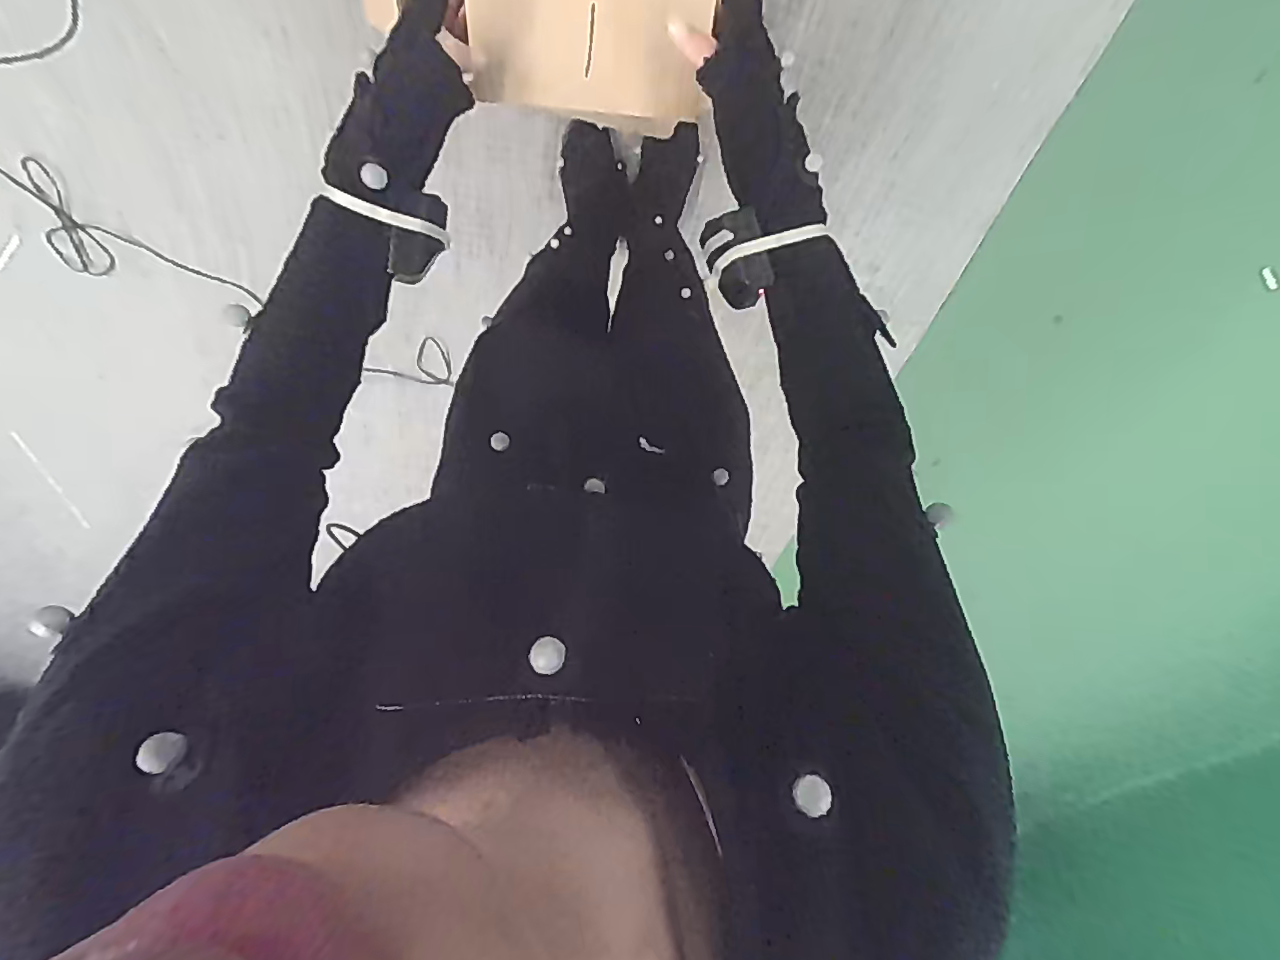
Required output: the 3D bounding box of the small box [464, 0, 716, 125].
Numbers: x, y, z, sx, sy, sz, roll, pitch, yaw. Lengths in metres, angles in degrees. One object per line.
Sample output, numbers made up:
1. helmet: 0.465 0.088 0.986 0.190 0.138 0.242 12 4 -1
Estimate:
1. small box: -0.036 -0.386 0.384 0.168 0.176 0.179 1 140 -8
